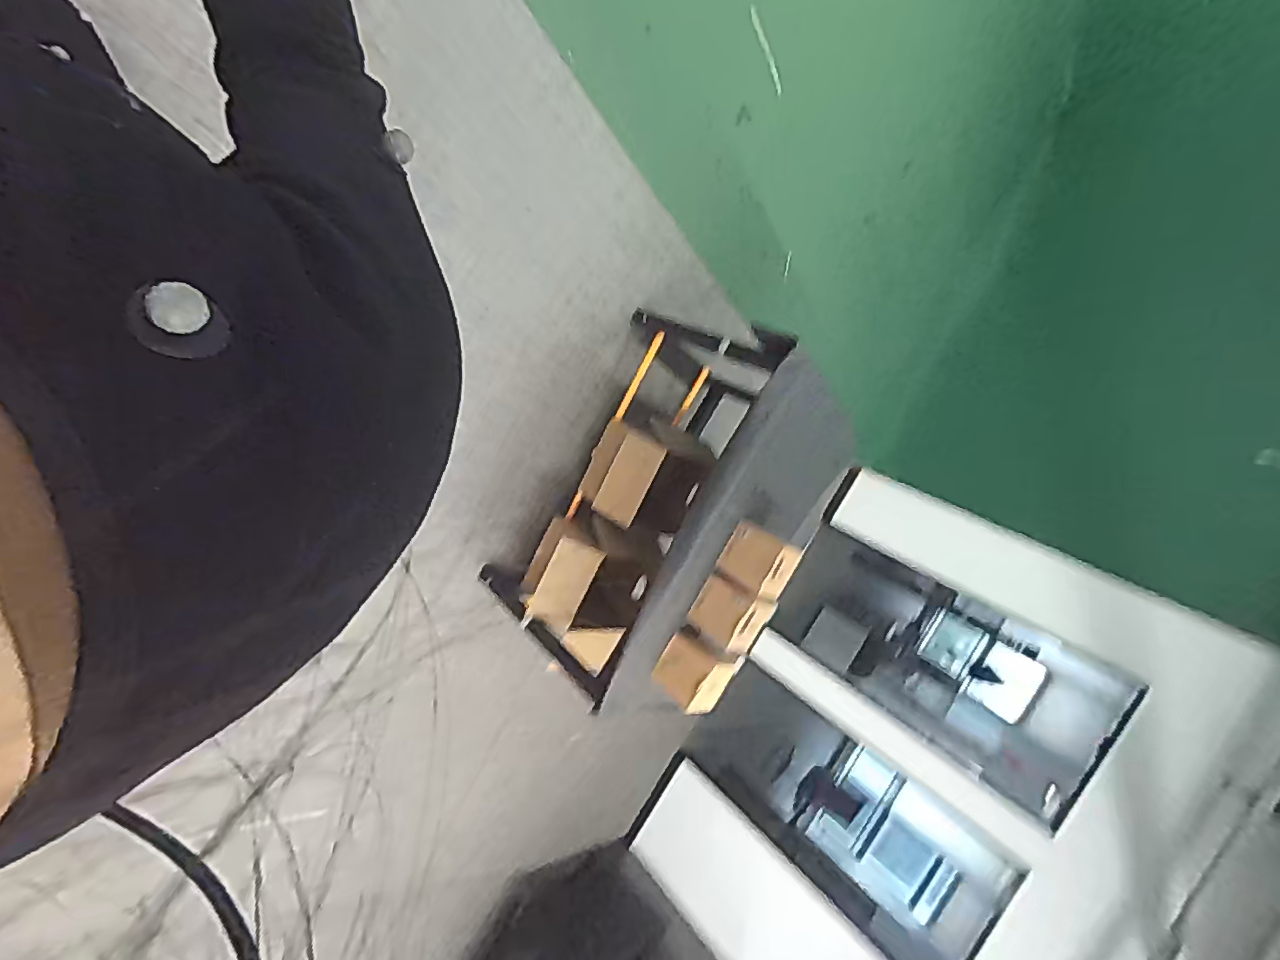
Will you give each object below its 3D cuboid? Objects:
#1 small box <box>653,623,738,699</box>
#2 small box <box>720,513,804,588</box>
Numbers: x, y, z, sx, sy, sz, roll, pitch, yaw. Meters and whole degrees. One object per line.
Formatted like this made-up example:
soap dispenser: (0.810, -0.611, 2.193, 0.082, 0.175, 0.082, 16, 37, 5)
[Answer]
small box: (0.178, 0.577, 1.736, 0.179, 0.176, 0.168, 25, 96, -52)
small box: (0.379, 0.220, 1.700, 0.179, 0.176, 0.168, 23, 98, -53)
